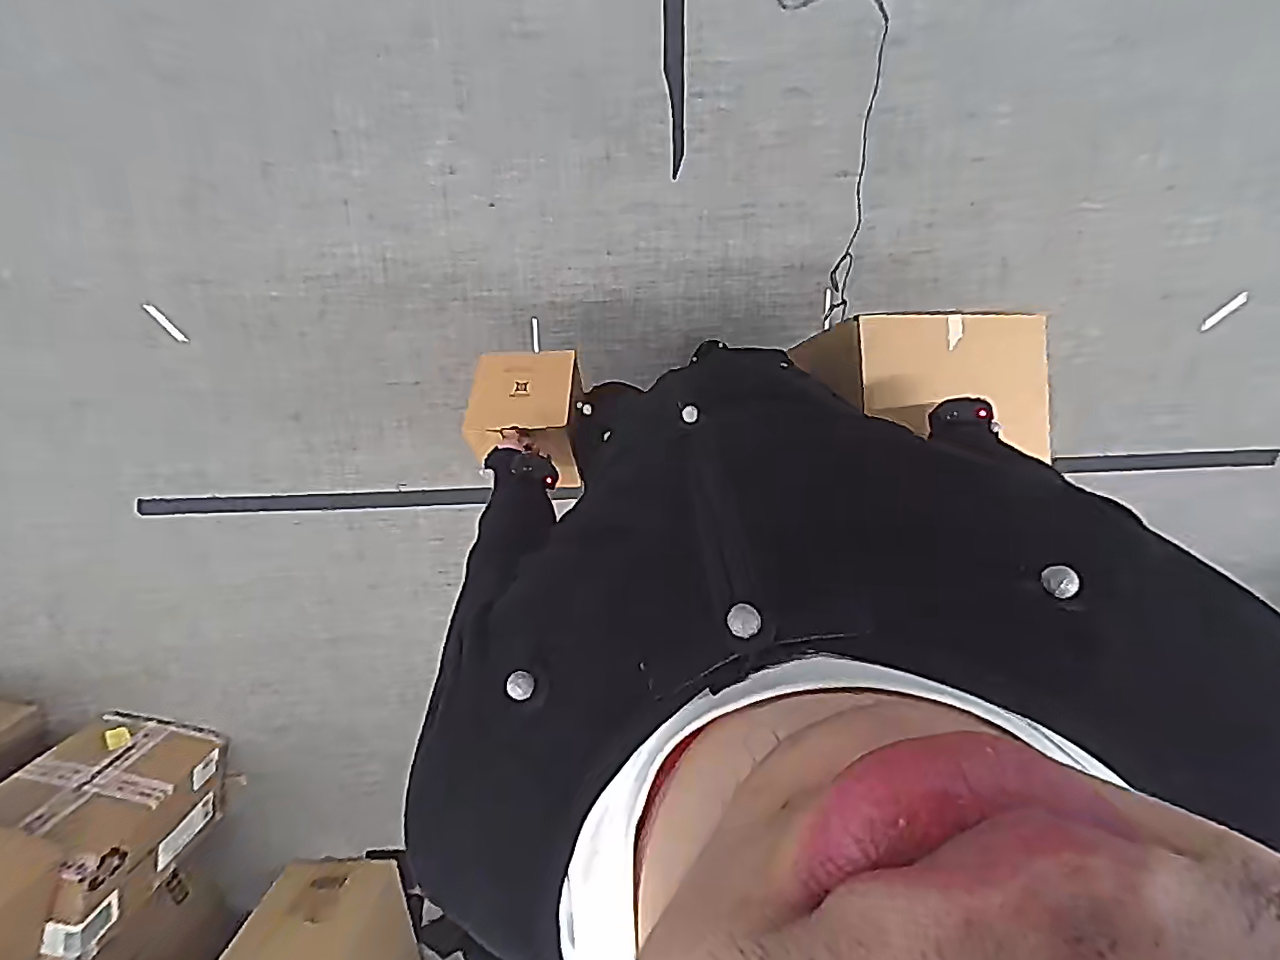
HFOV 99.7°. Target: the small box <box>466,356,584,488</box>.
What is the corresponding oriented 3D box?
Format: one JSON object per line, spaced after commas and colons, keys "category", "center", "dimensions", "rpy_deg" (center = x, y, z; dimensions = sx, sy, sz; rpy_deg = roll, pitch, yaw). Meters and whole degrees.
{"category": "small box", "center": [-0.191, -0.095, 0.959], "dimensions": [0.168, 0.179, 0.176], "rpy_deg": [-2, 144, 0]}
